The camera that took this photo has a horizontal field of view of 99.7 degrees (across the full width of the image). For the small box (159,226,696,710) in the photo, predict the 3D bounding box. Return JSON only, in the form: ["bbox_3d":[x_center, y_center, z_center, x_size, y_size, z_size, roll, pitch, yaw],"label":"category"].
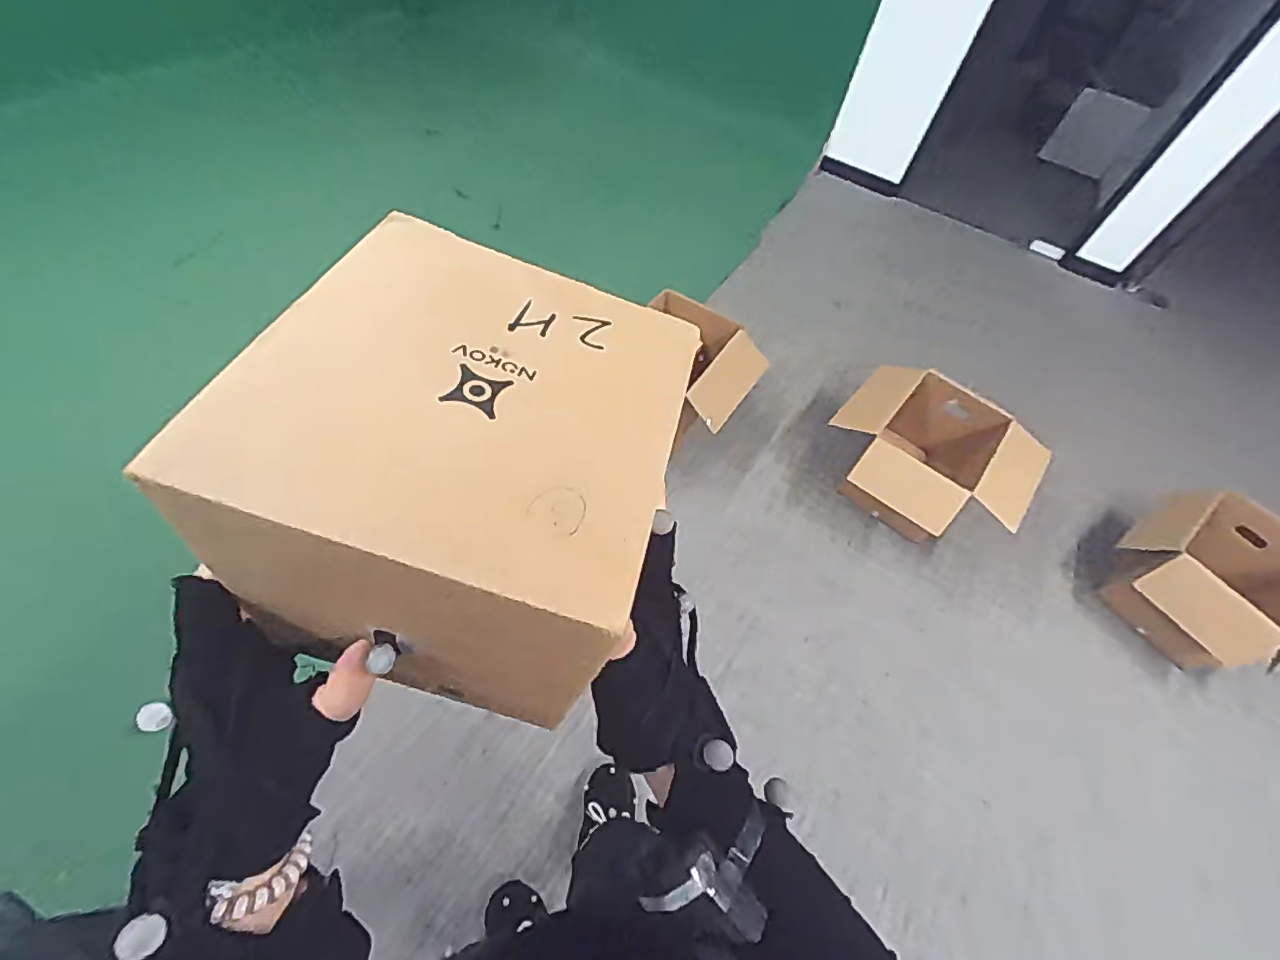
[{"bbox_3d":[-0.085,0.005,0.297,0.168,0.176,0.179,19,53,-5],"label":"small box"}]
